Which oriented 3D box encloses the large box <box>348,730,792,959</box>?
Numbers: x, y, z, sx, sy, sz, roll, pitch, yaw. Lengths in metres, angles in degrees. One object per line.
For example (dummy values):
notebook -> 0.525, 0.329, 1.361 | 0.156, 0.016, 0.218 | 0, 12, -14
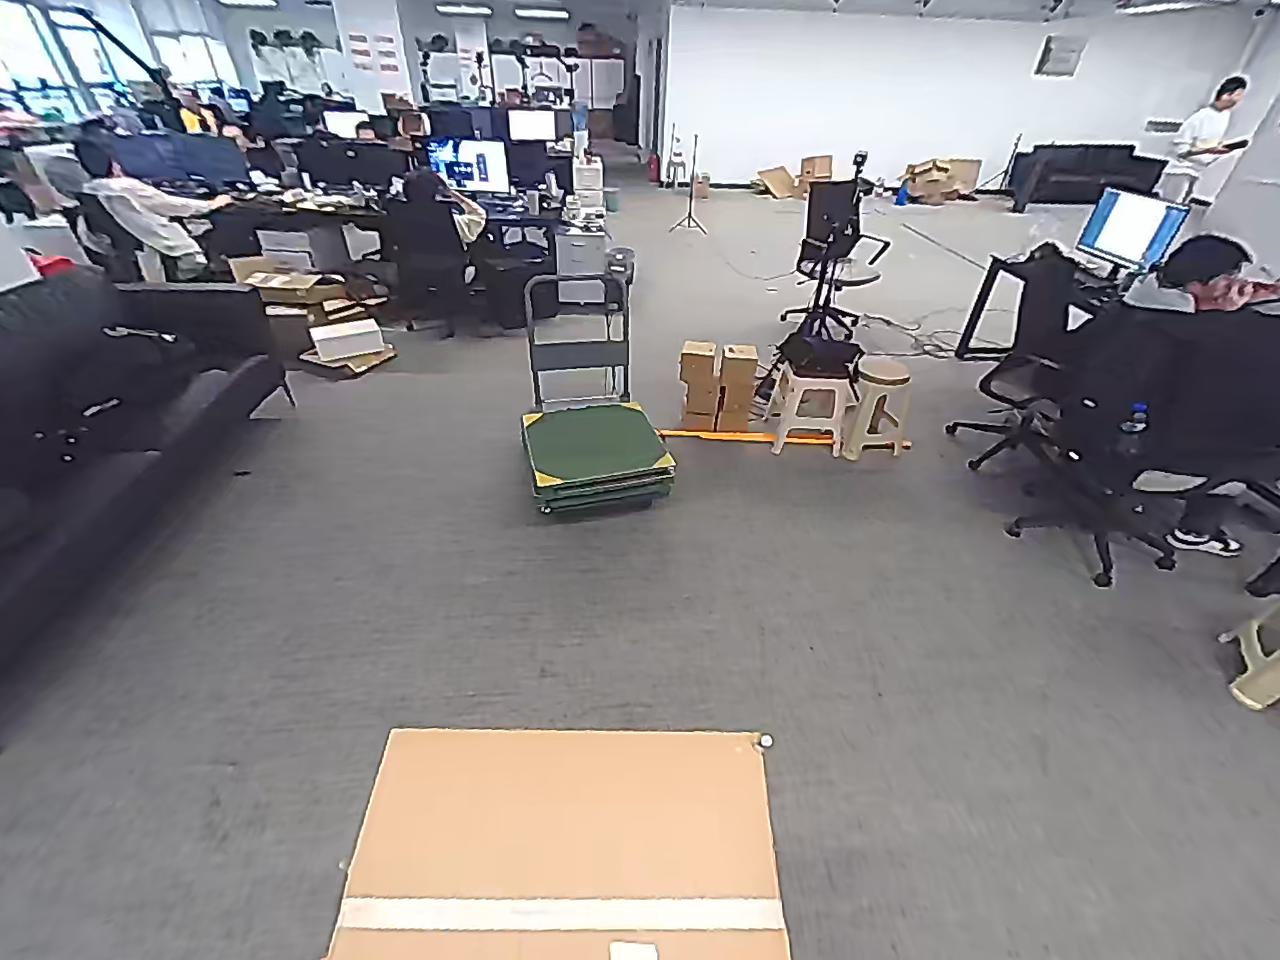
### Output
large box -> -0.066, 0.494, 0.619 | 0.408, 0.320, 0.320 | 1, 52, -1
